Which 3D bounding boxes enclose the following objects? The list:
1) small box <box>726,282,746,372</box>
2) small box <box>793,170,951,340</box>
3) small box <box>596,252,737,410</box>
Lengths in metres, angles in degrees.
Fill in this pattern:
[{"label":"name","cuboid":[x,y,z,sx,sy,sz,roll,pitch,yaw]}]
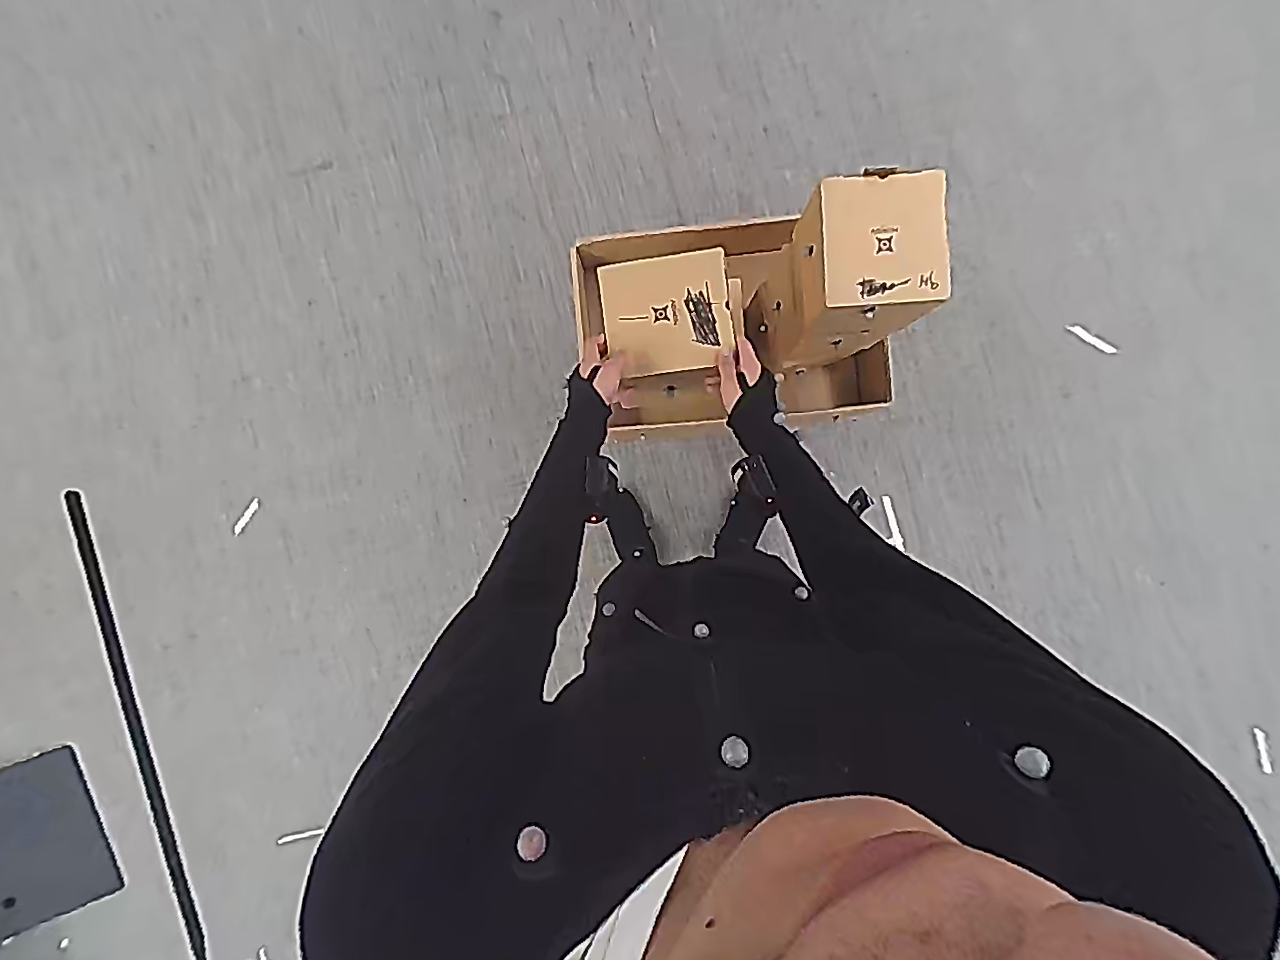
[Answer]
[{"label":"small box","cuboid":[0.116,-0.299,1.125,0.179,0.176,0.168,-4,90,1]},{"label":"small box","cuboid":[0.325,-0.316,0.788,0.168,0.176,0.179,-2,90,3]},{"label":"small box","cuboid":[0.039,-0.208,0.798,0.179,0.176,0.168,-7,83,4]}]
